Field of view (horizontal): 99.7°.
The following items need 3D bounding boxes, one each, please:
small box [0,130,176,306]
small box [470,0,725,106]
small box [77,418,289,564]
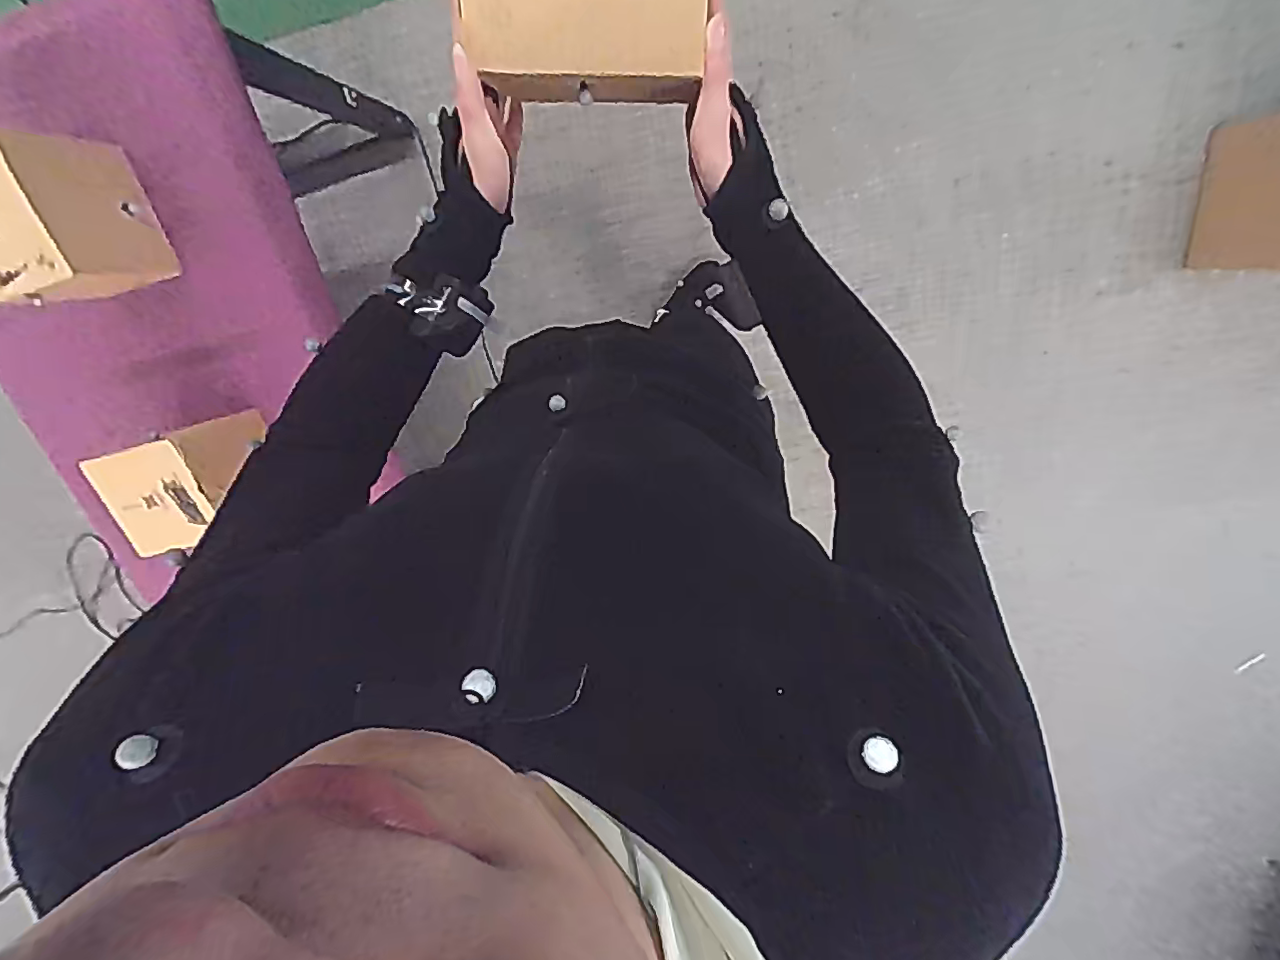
[{"bbox_3d":[-0.807,-0.343,0.737,0.168,0.176,0.179,-11,111,9],"label":"small box"},{"bbox_3d":[-0.024,-0.396,0.413,0.179,0.176,0.168,3,119,1],"label":"small box"},{"bbox_3d":[-0.713,0.010,0.875,0.179,0.176,0.168,-12,111,11],"label":"small box"}]
